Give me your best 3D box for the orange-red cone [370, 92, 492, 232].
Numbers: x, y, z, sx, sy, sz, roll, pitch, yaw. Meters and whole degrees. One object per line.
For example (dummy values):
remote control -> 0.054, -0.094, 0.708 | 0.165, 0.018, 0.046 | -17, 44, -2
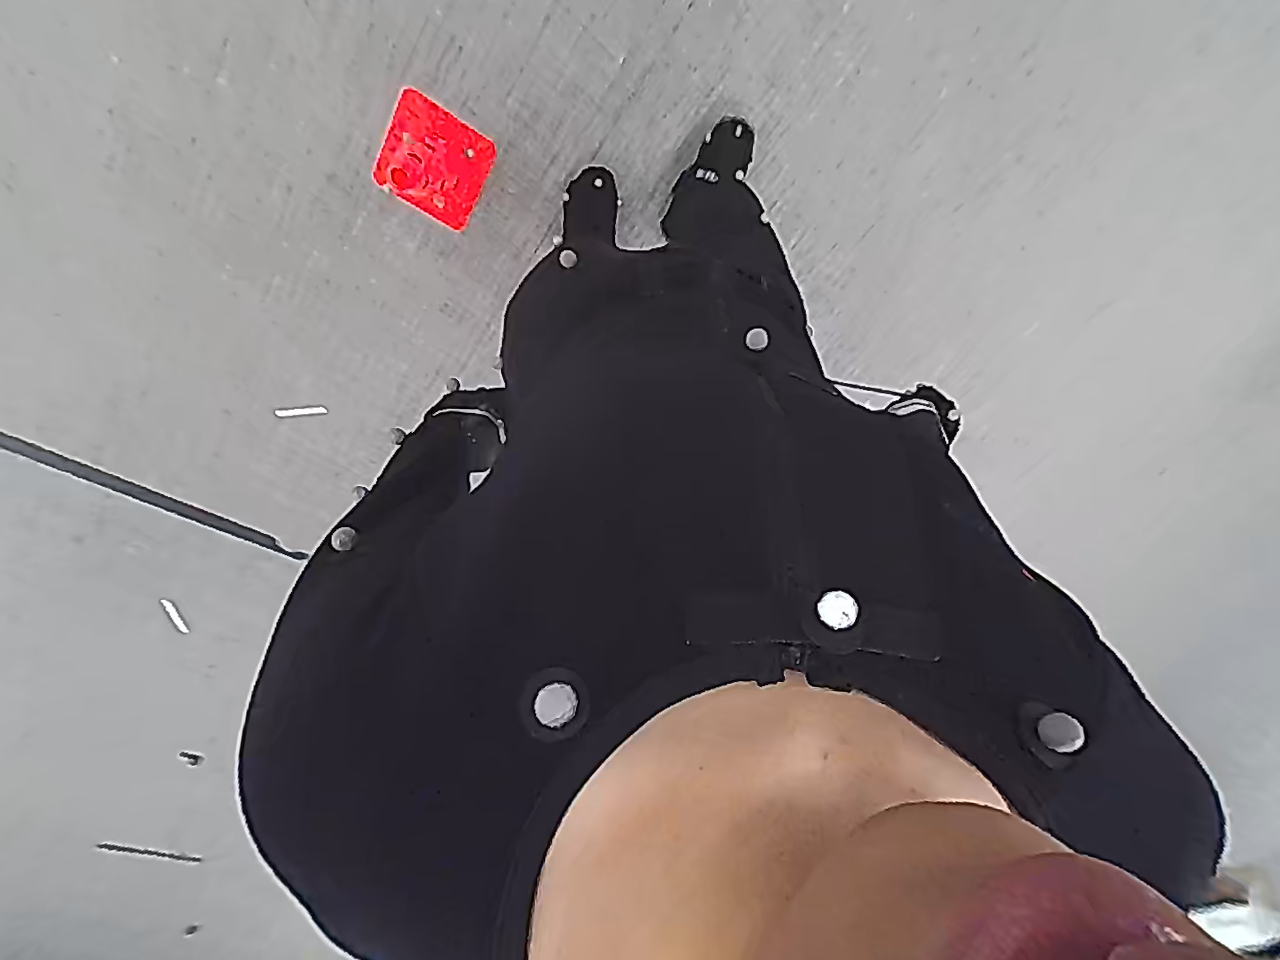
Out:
orange-red cone -> -0.408, -0.560, 0.976 | 0.199, 0.360, 0.198 | 27, 114, -23
